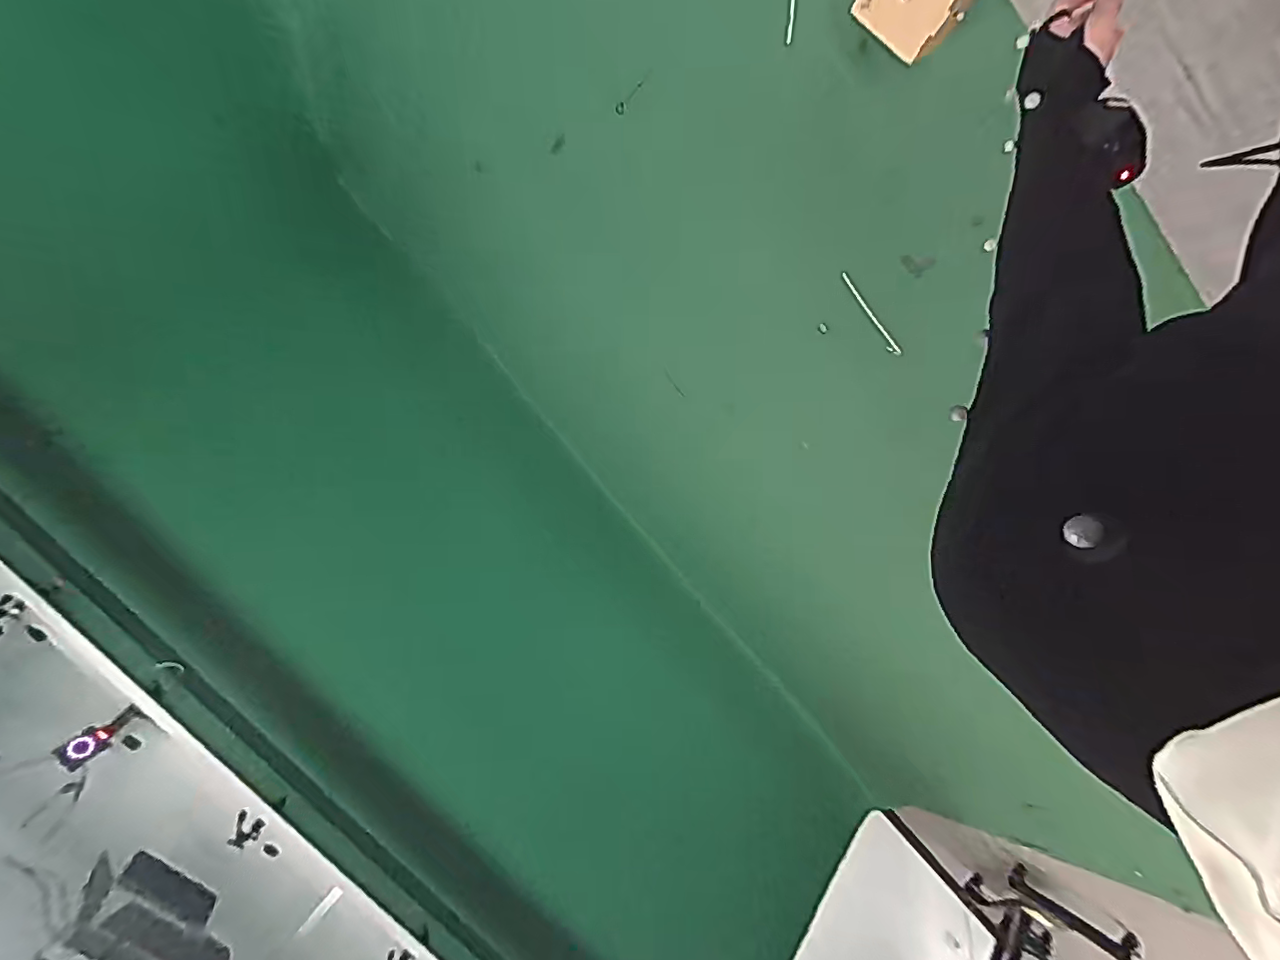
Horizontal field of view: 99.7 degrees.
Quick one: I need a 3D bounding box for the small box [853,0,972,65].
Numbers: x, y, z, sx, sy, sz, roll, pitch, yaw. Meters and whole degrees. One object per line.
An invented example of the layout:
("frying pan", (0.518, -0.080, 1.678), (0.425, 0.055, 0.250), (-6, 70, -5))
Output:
("small box", (0.584, -1.007, 1.102), (0.179, 0.176, 0.168), (44, 153, 2))
